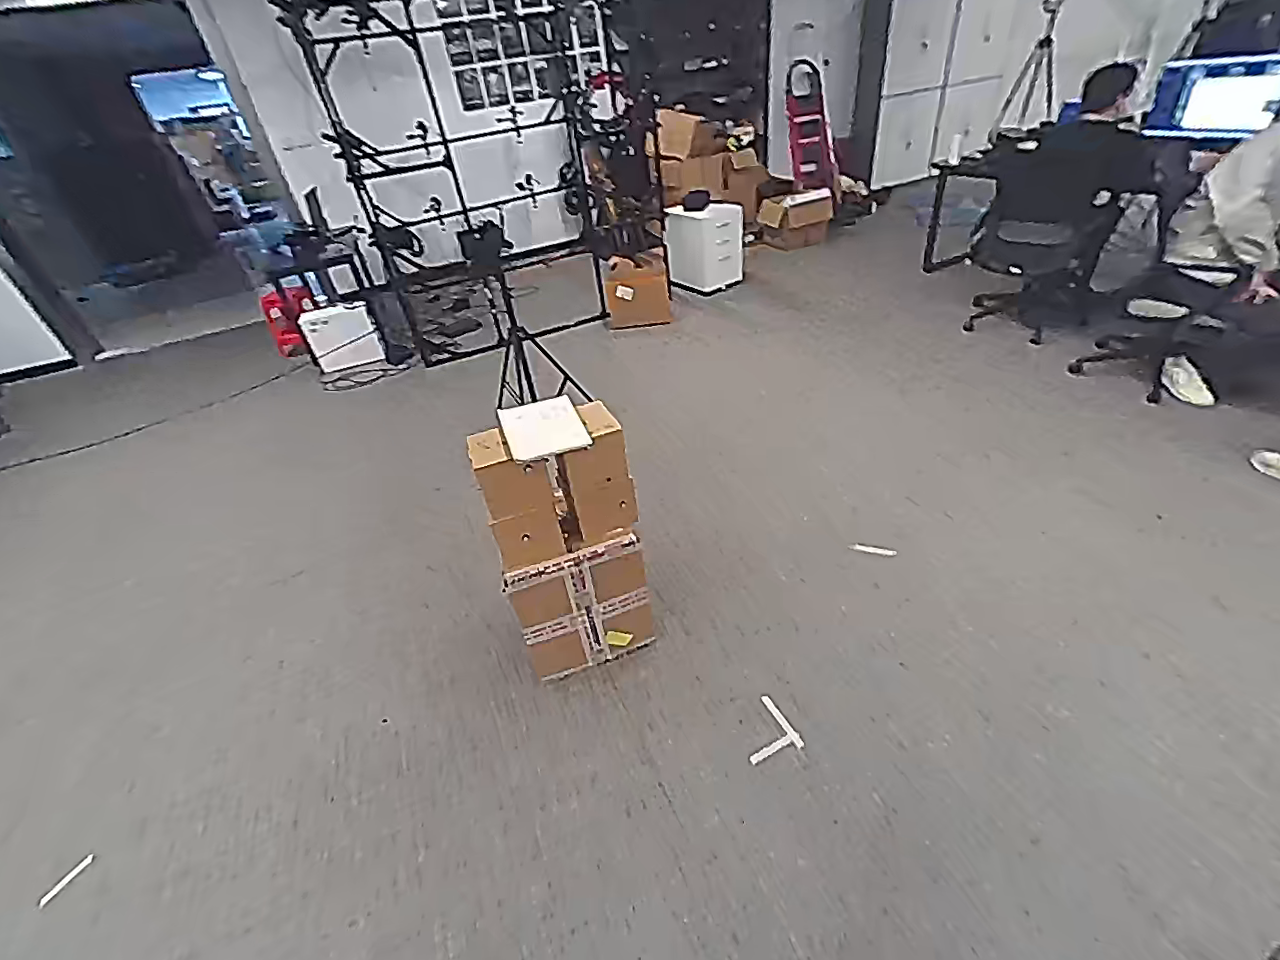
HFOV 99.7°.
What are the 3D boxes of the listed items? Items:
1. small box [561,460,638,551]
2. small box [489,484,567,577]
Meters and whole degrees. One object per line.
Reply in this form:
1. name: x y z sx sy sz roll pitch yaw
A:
1. small box: -0.113 0.074 1.574 0.179 0.176 0.168 -20 39 -16
2. small box: -0.311 0.143 1.522 0.179 0.176 0.168 -16 39 -8
